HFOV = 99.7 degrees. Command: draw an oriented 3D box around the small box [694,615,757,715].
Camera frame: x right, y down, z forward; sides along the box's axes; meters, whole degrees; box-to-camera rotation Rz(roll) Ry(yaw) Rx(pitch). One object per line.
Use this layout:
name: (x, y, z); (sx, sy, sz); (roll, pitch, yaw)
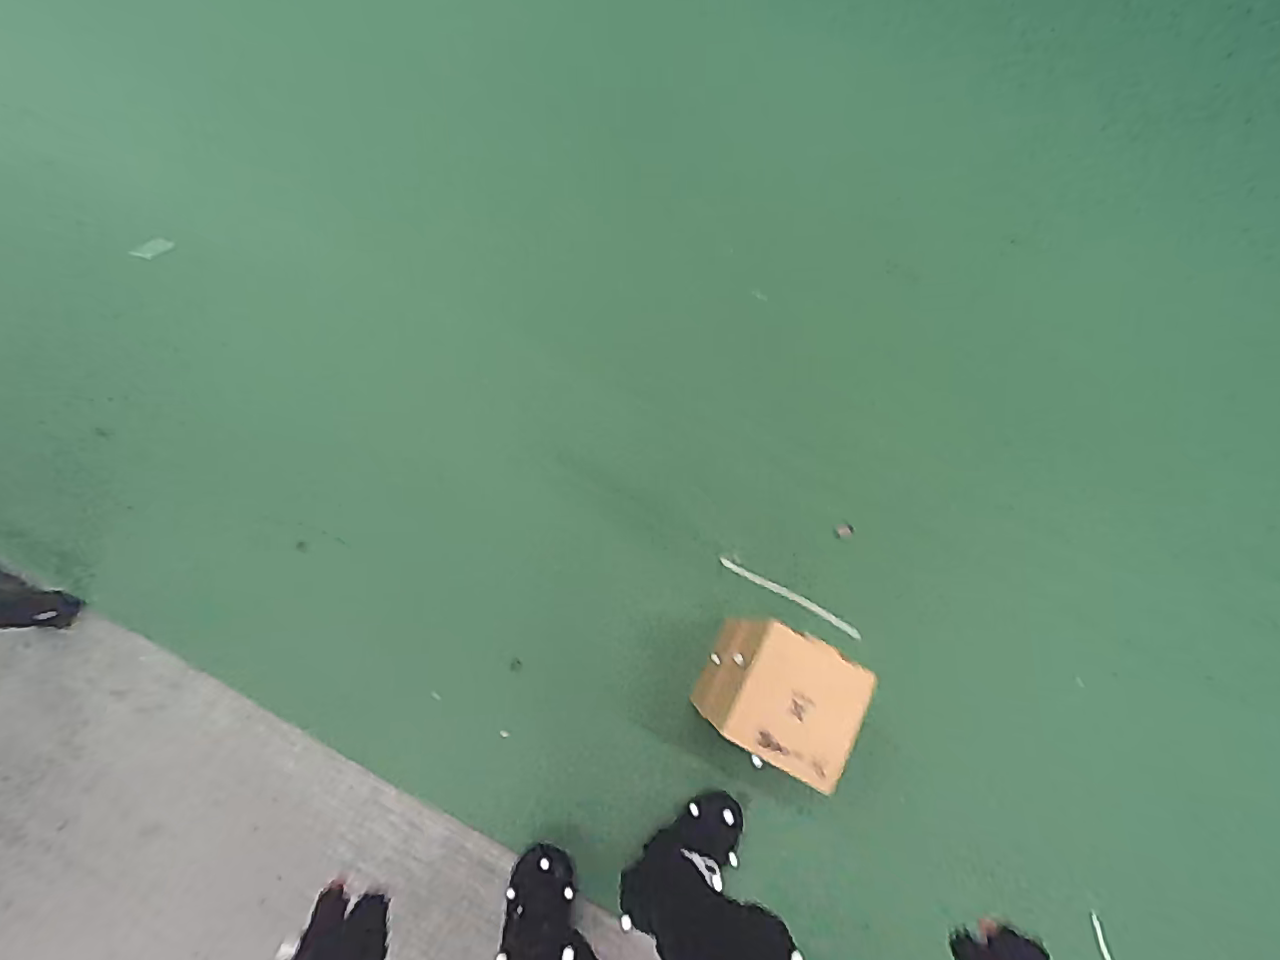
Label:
small box: (0.209, 0.361, 0.975); (0.168, 0.176, 0.179); (29, 77, 6)

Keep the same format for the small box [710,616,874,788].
small box: (0.219, 0.327, 0.833); (0.168, 0.176, 0.179); (28, 76, 5)
